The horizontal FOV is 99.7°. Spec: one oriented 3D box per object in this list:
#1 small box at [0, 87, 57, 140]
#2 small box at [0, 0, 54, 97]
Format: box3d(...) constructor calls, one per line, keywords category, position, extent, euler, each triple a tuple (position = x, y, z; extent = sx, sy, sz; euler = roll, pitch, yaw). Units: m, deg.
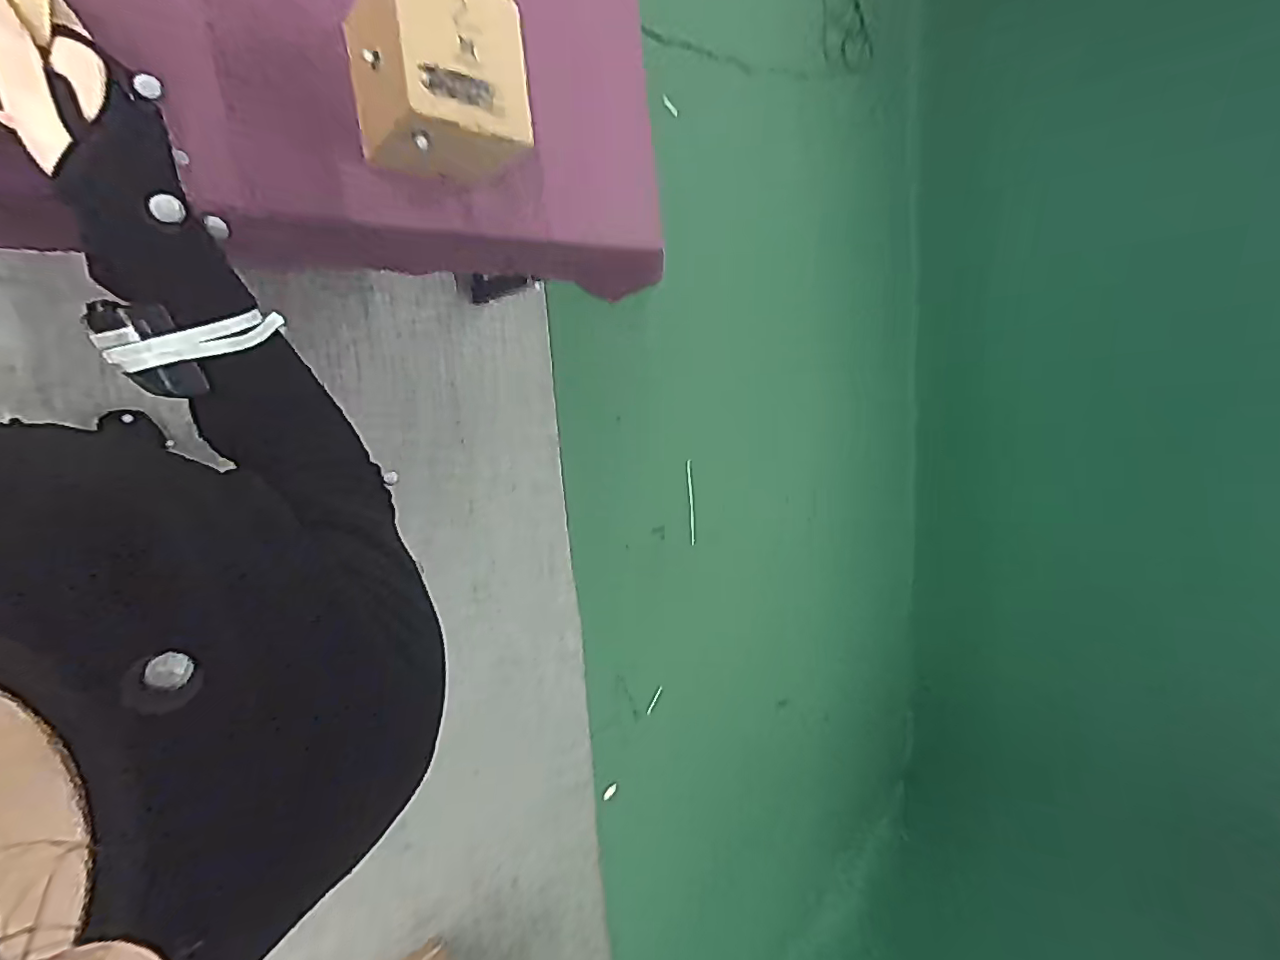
box3d(category="small box", position=(-0.593, -0.408, 0.419), extent=(0.168, 0.176, 0.179), euler=(-10, 101, -42))
box3d(category="small box", position=(-0.418, -0.331, 0.267), extent=(0.168, 0.176, 0.179), euler=(-5, 111, -46))
